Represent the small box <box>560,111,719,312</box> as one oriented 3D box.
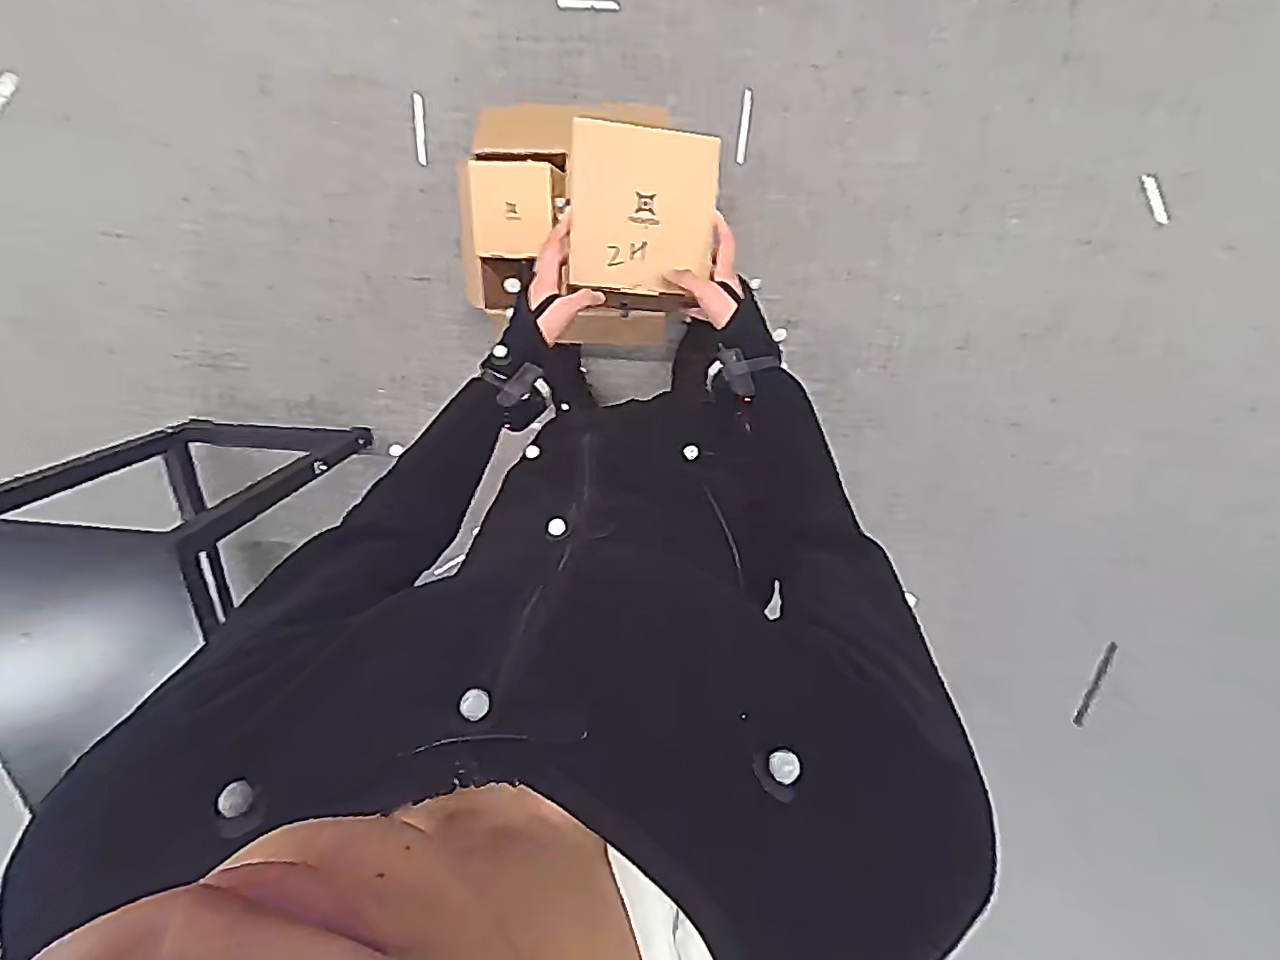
[{"bbox_3d":[-0.012,-0.316,0.676,0.168,0.176,0.179,2,101,-11],"label":"small box"}]
